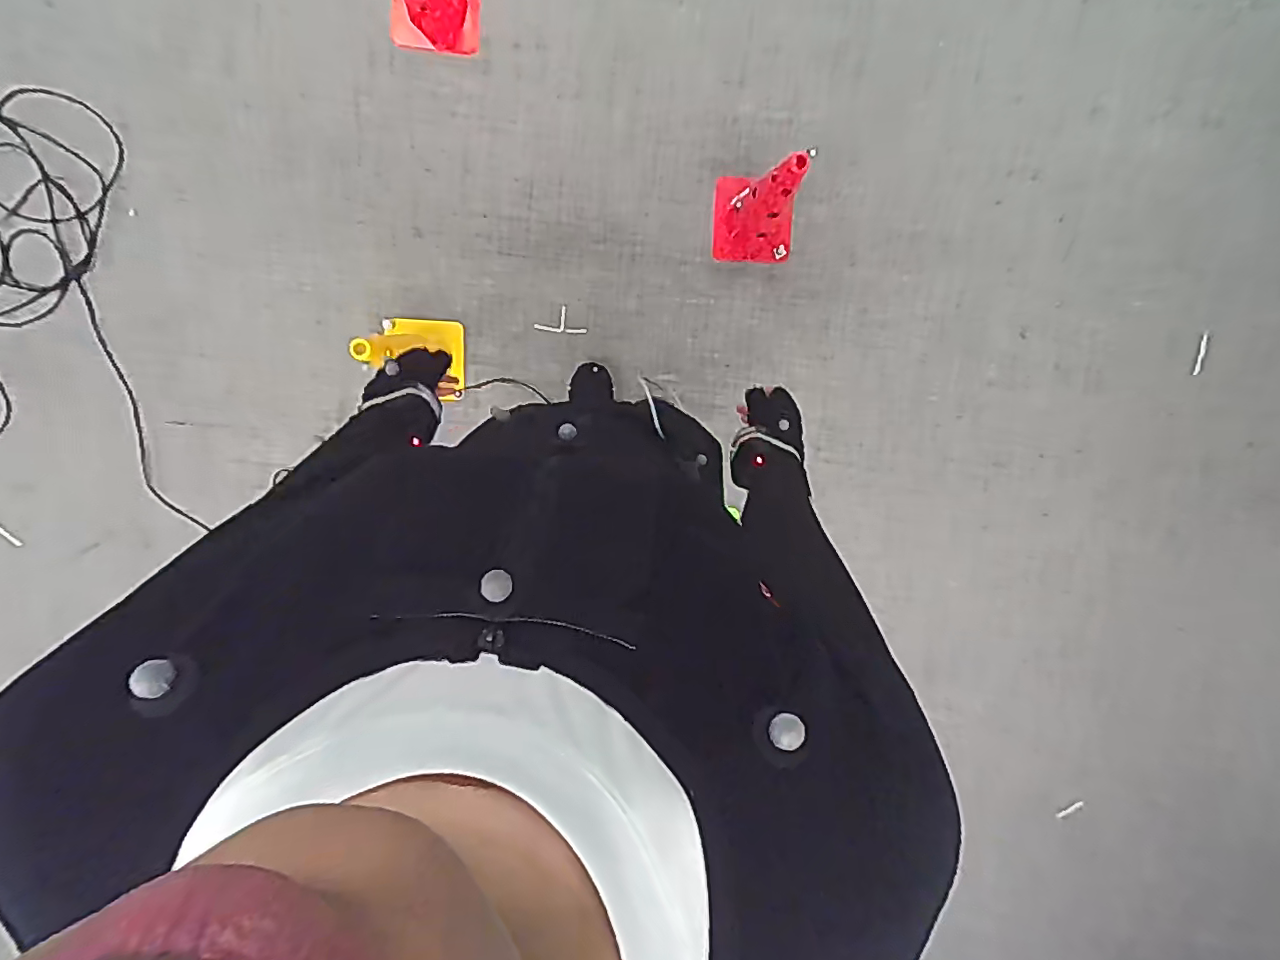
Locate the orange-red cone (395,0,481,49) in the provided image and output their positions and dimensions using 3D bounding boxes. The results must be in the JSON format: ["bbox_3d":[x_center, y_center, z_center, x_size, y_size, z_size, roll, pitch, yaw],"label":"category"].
[{"bbox_3d":[-0.466,-1.091,1.091,0.198,0.360,0.199,6,100,-2],"label":"orange-red cone"}]

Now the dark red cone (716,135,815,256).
[{"bbox_3d":[0.297,-0.635,1.174,0.202,0.394,0.201,0,98,-2],"label":"dark red cone"}]
